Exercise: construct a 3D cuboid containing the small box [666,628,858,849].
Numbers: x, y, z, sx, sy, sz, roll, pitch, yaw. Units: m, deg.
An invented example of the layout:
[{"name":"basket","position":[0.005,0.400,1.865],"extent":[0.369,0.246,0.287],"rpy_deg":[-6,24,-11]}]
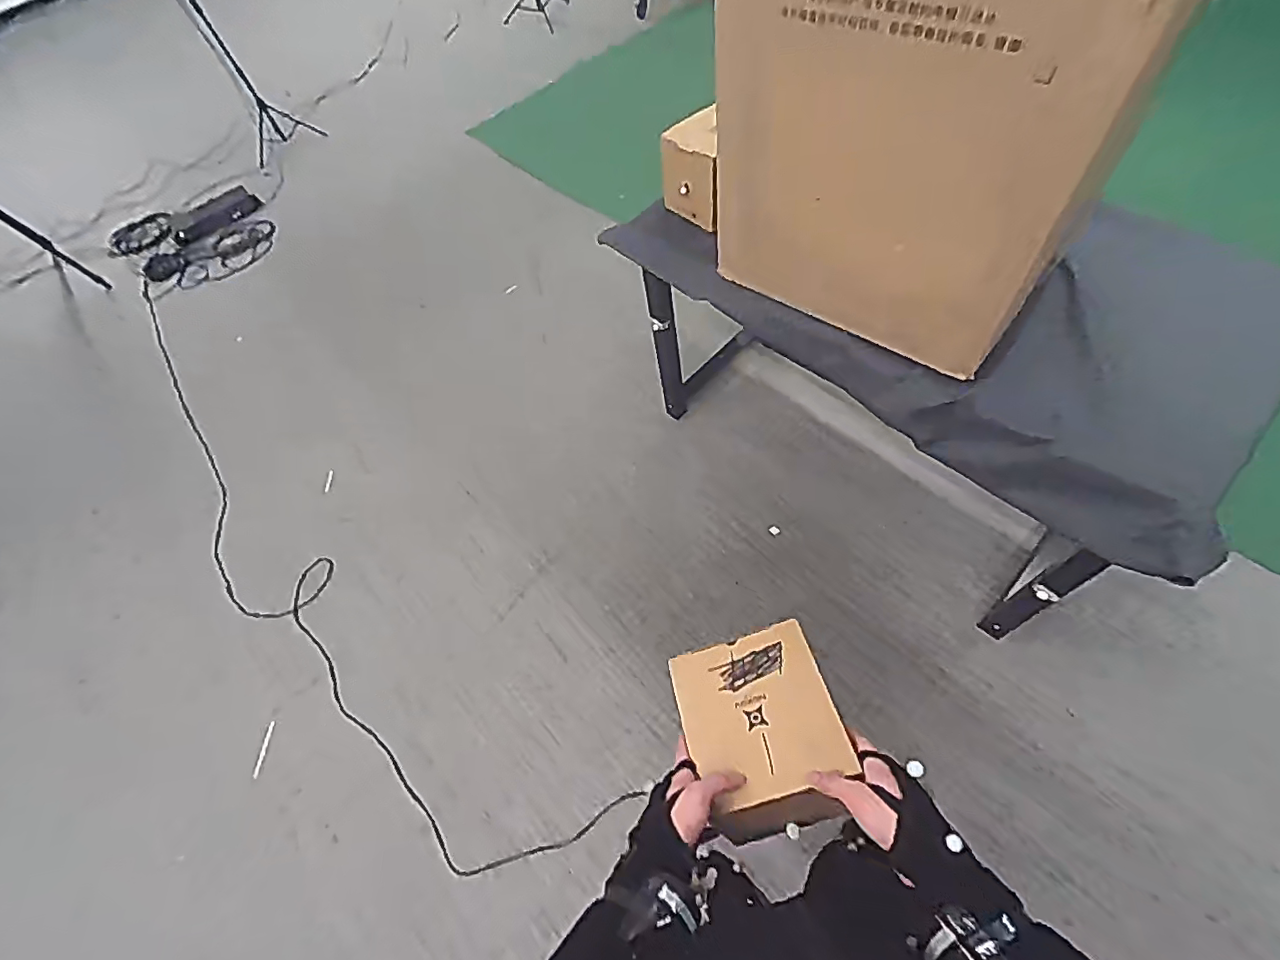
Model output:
[{"name":"small box","position":[0.147,0.317,0.659],"extent":[0.168,0.176,0.179],"rpy_deg":[-22,45,6]}]
